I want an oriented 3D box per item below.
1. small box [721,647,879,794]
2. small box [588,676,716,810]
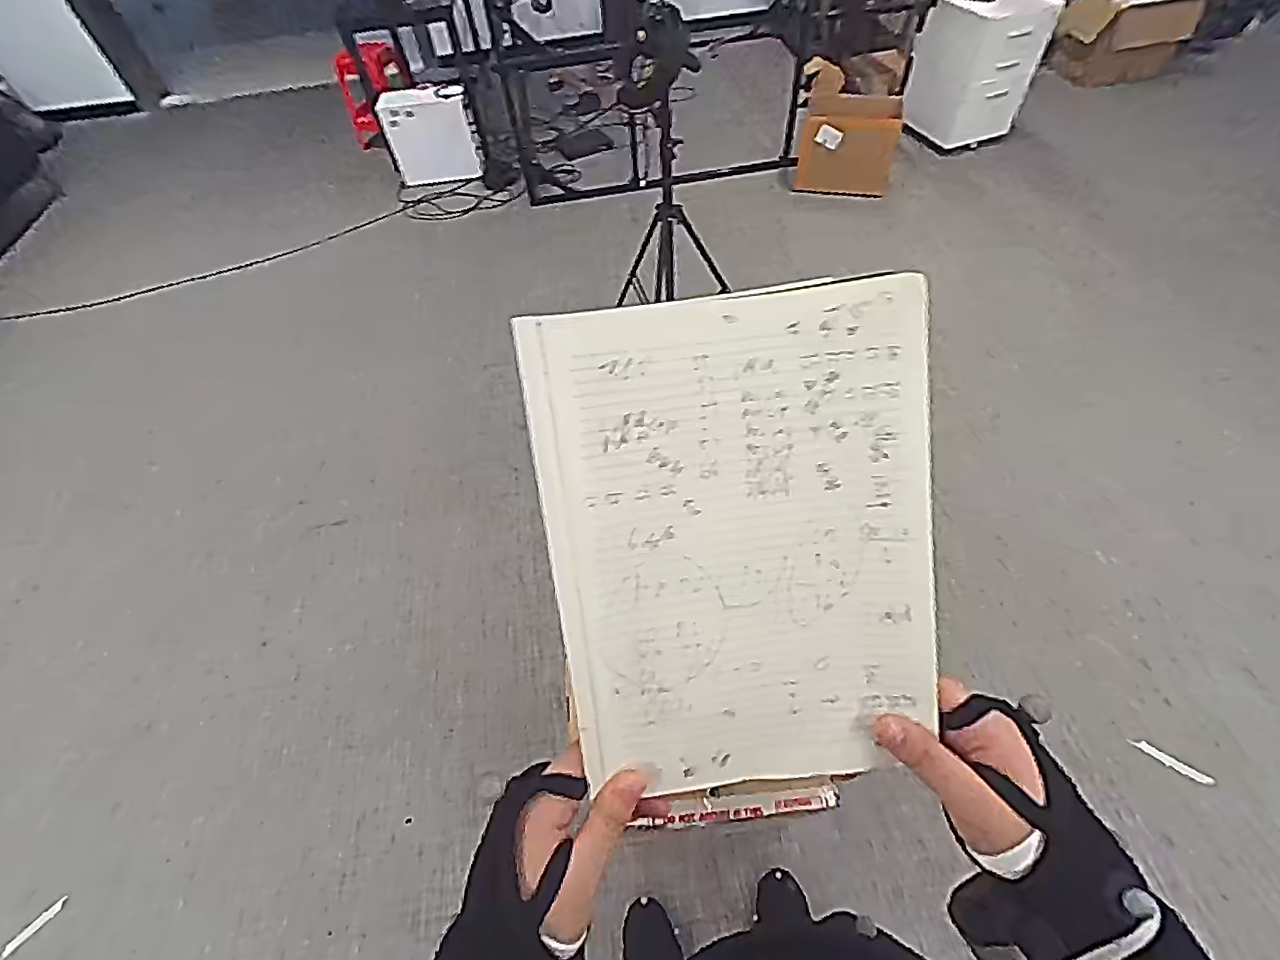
[{"bbox_3d":[0.235,0.379,0.847,0.179,0.176,0.168,-10,55,-4],"label":"small box"},{"bbox_3d":[0.021,0.411,0.840,0.179,0.176,0.168,-4,56,4],"label":"small box"}]
